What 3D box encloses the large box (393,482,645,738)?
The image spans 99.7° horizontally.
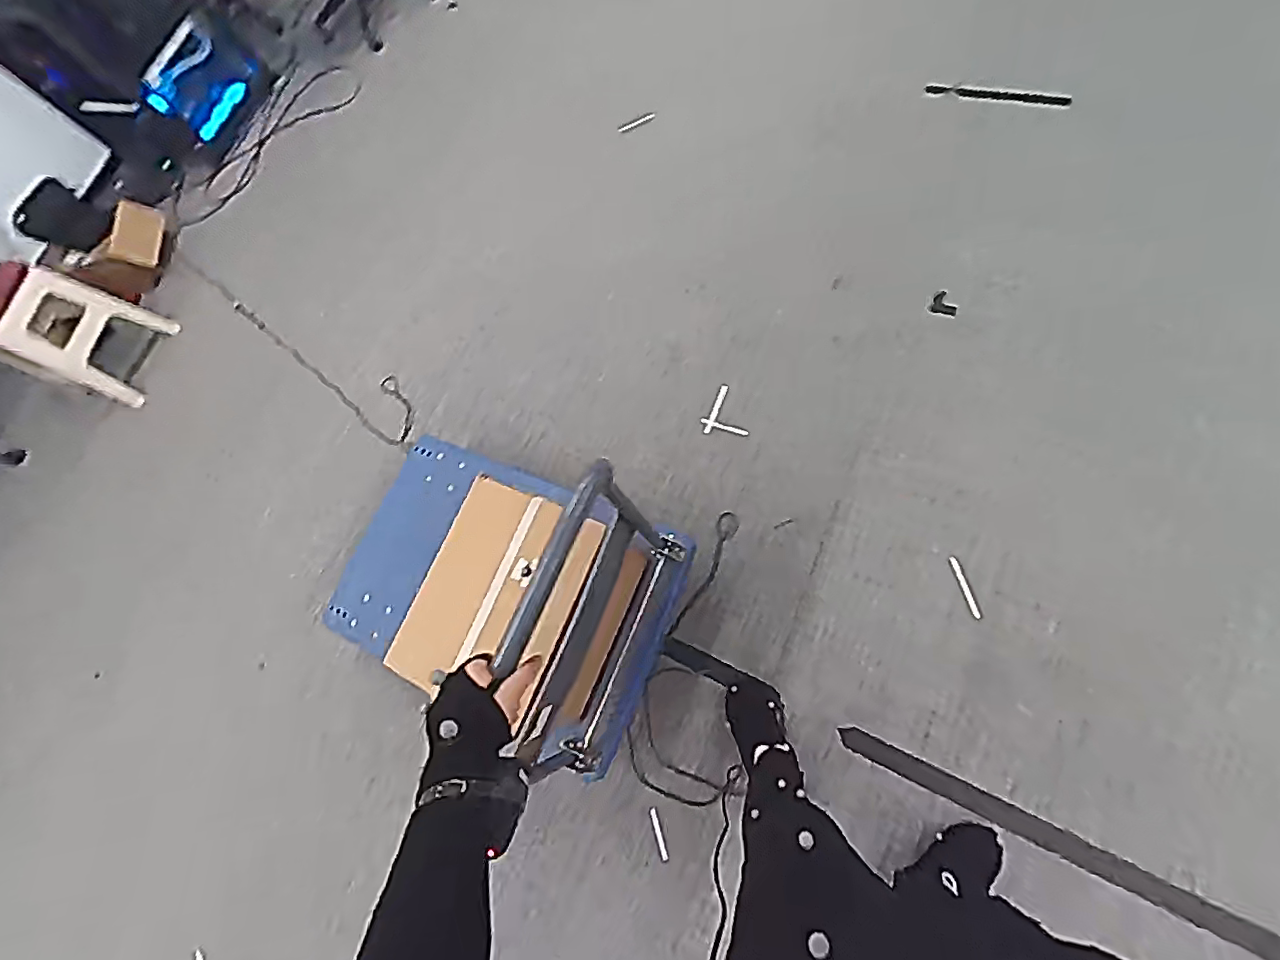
[{"bbox_3d":[-0.231,0.274,1.156,0.320,0.320,0.408,19,77,20],"label":"large box"}]
